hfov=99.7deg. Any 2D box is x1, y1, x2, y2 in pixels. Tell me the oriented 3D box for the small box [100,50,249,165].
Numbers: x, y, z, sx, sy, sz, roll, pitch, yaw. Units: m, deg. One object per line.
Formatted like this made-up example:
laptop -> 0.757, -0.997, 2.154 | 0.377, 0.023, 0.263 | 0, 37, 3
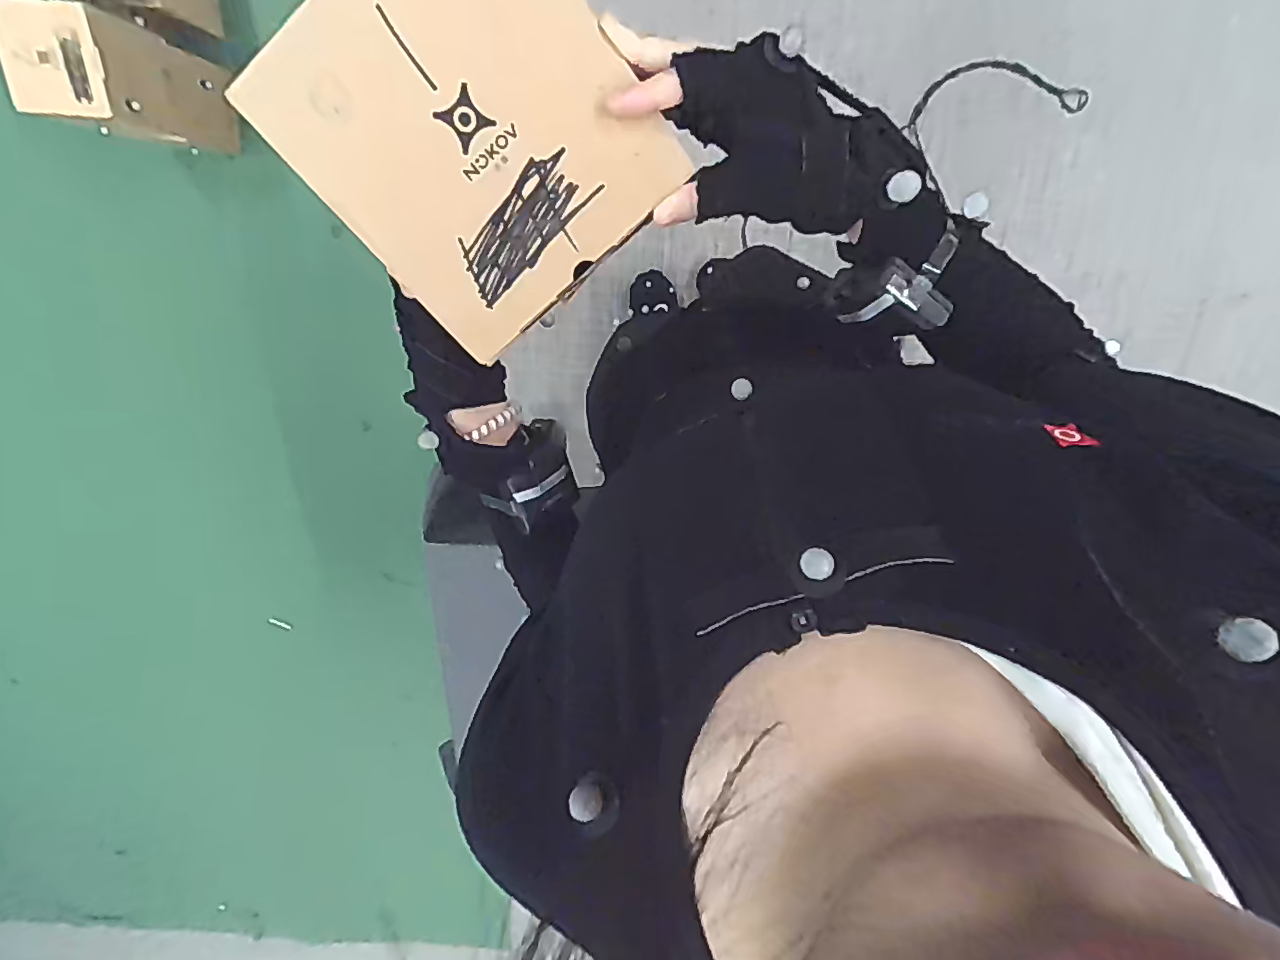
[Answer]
small box -> -0.994, -0.799, 1.178 | 0.179, 0.176, 0.168 | 6, 111, -1
